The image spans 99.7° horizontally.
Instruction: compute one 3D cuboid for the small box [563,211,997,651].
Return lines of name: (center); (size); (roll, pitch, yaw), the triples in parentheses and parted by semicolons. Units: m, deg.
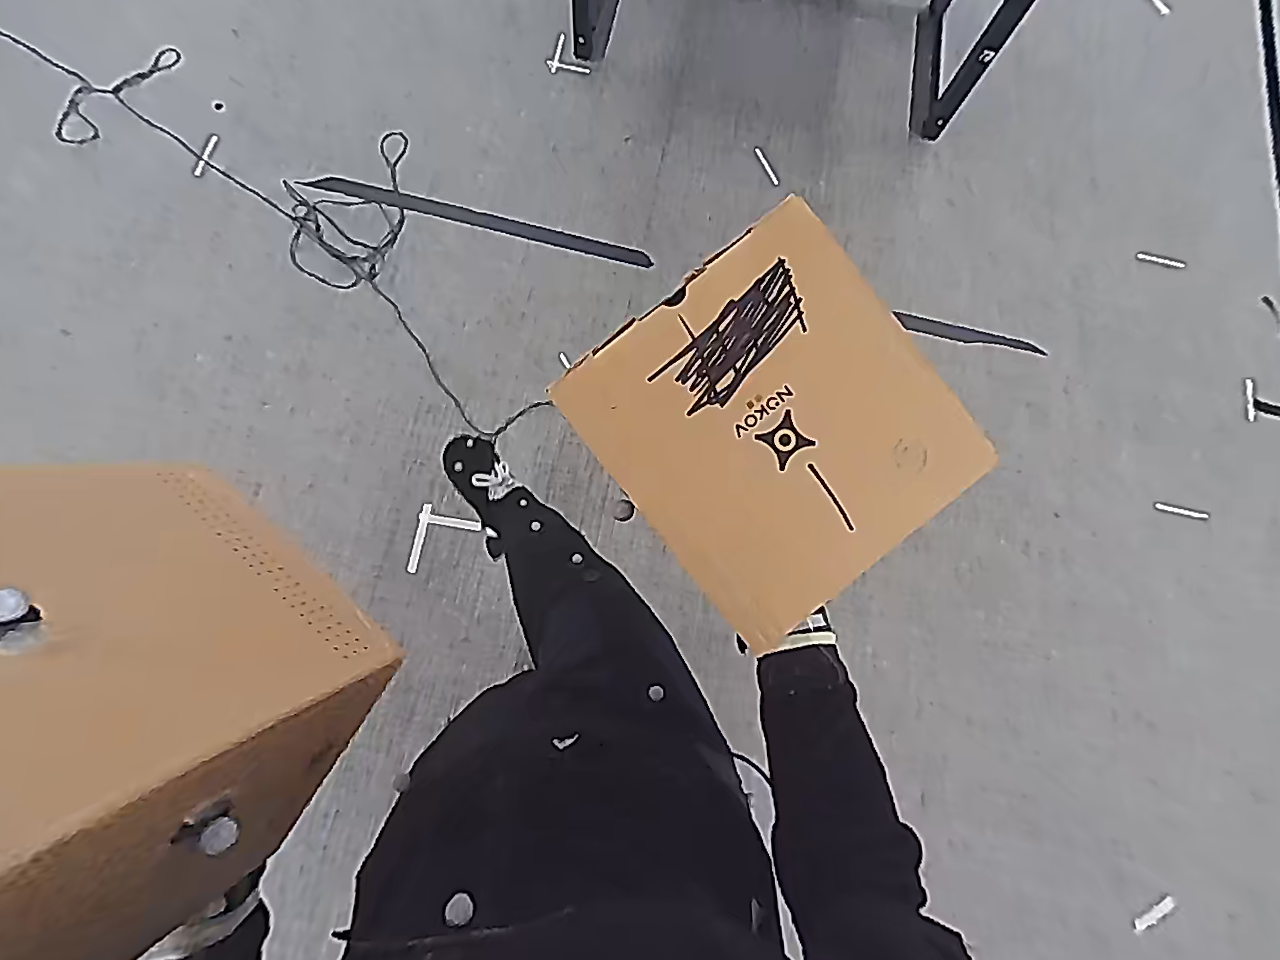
small box: (0.070, -0.025, 0.360); (0.168, 0.176, 0.179); (-38, 92, -1)
